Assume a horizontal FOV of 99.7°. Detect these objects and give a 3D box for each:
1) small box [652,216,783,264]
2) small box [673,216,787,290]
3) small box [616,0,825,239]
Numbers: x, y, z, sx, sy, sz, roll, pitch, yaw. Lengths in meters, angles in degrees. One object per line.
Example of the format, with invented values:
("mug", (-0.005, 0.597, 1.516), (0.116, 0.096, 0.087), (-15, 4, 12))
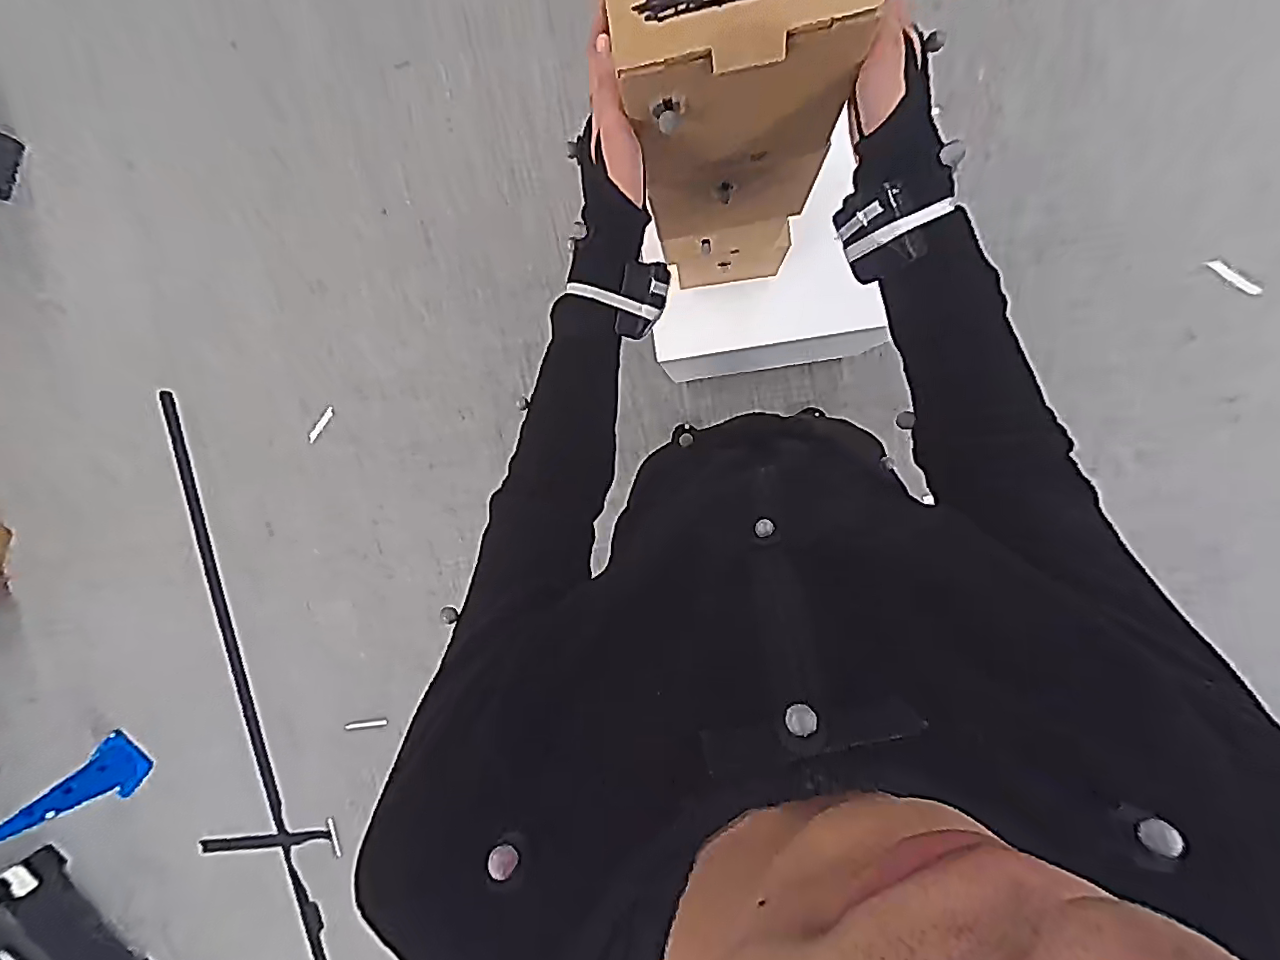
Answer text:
("small box", (0.100, -0.407, 0.736), (0.168, 0.176, 0.179), (-5, 95, 7))
("small box", (0.136, -0.426, 0.894), (0.179, 0.176, 0.168), (-7, 95, 6))
("small box", (0.083, -0.377, 0.575), (0.179, 0.176, 0.168), (-8, 95, 7))
